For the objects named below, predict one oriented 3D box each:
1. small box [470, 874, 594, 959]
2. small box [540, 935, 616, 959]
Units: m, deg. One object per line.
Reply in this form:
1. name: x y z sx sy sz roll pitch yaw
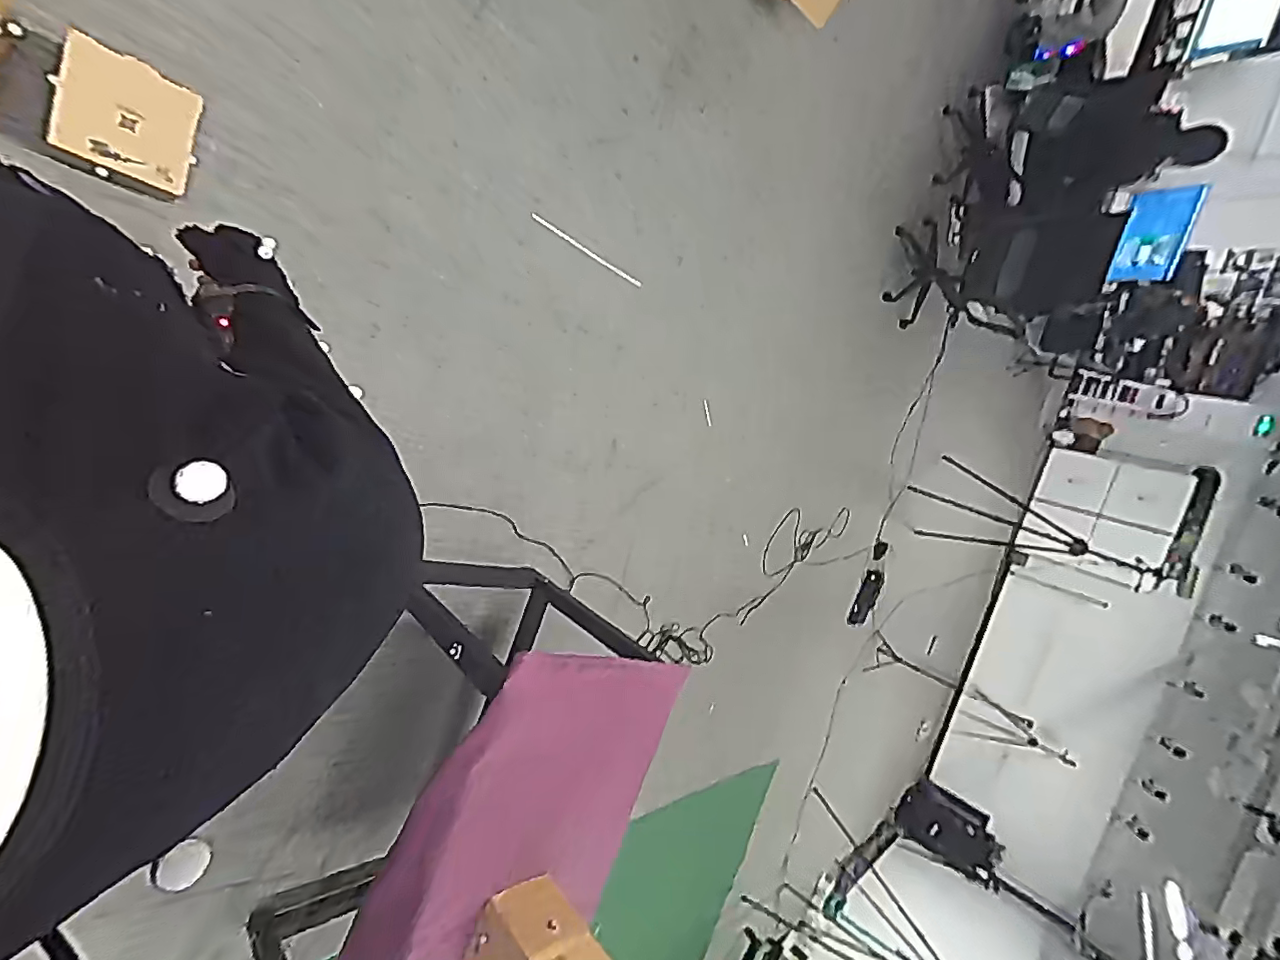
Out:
1. small box: -0.242 1.027 1.202 0.179 0.176 0.168 23 88 -48
2. small box: -0.131 1.079 1.096 0.168 0.176 0.179 21 91 -48
